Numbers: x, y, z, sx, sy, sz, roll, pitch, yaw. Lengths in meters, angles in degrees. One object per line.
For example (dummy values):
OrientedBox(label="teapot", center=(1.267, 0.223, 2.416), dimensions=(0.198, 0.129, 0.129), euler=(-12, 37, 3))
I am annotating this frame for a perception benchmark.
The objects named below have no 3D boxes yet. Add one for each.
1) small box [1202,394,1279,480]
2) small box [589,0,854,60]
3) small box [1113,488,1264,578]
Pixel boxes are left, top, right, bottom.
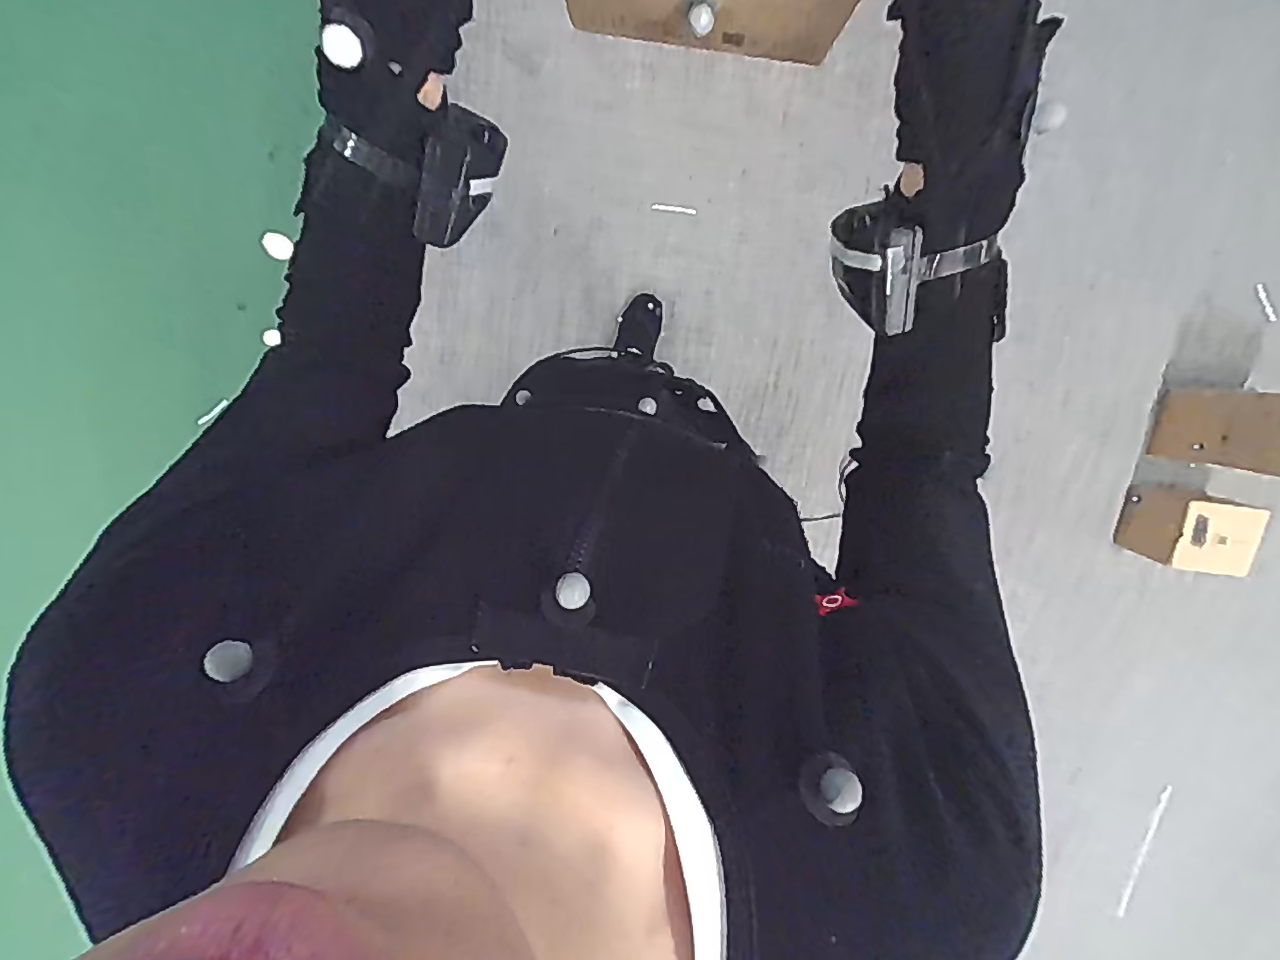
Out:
OrientedBox(label="small box", center=(1.345, -0.083, 1.111), dimensions=(0.179, 0.176, 0.168), euler=(8, 102, 2))
OrientedBox(label="small box", center=(0.051, -0.349, 0.255), dimensions=(0.168, 0.176, 0.179), euler=(9, 106, 0))
OrientedBox(label="small box", center=(1.323, 0.122, 1.321), dimensions=(0.179, 0.176, 0.168), euler=(7, 103, 2))
